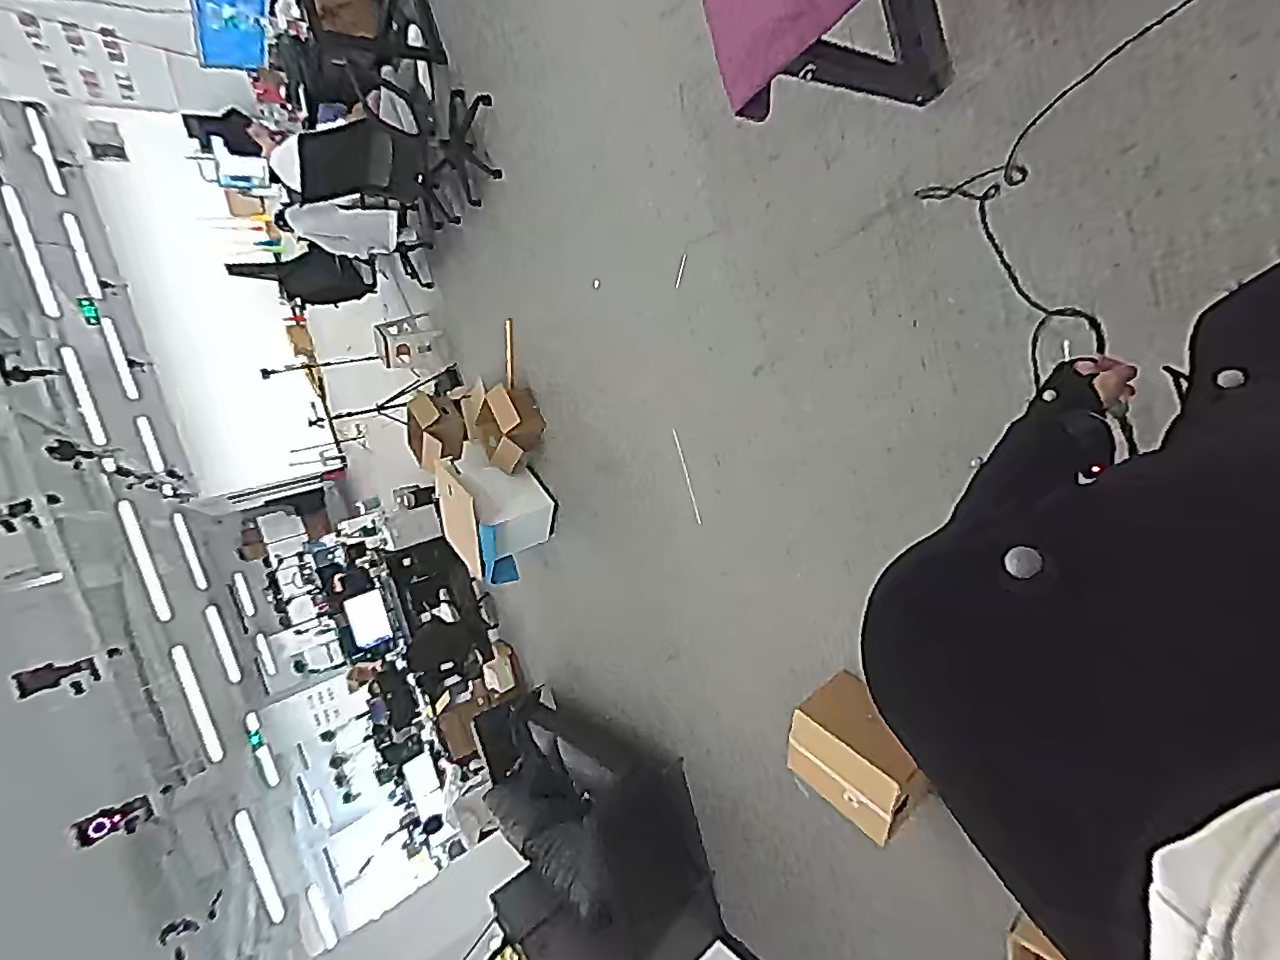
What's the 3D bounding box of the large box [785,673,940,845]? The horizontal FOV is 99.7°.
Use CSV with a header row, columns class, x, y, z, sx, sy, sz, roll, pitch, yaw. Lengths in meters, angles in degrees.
class,x,y,z,sx,sy,sz,roll,pitch,yaw
large box,0.798,0.989,1.974,0.408,0.320,0.320,26,126,45
